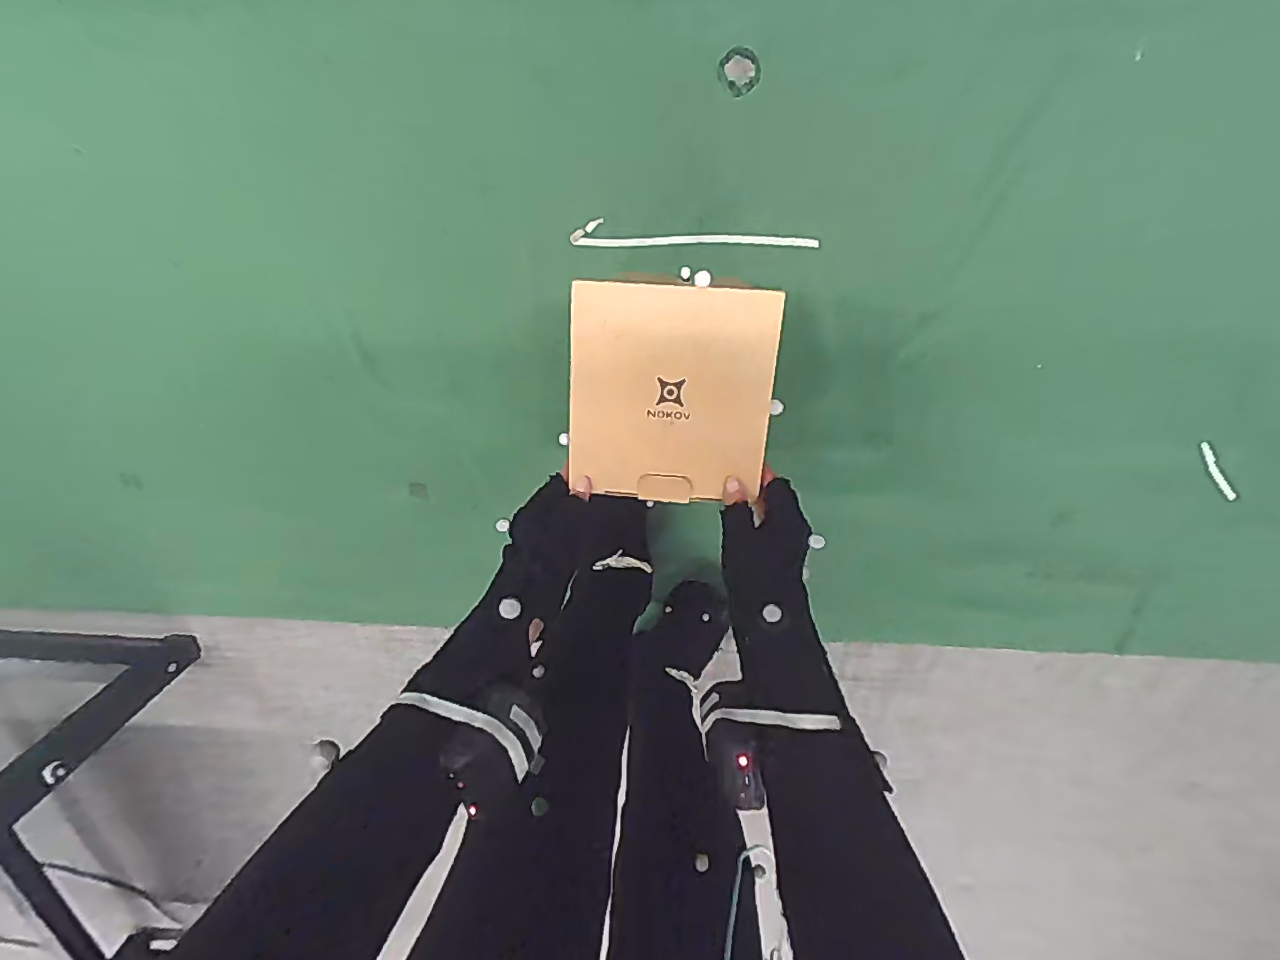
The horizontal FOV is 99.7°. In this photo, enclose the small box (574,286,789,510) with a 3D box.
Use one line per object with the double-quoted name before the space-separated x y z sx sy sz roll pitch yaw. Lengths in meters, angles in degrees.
"small box" 0.032 -0.085 0.517 0.168 0.176 0.179 4 108 2
